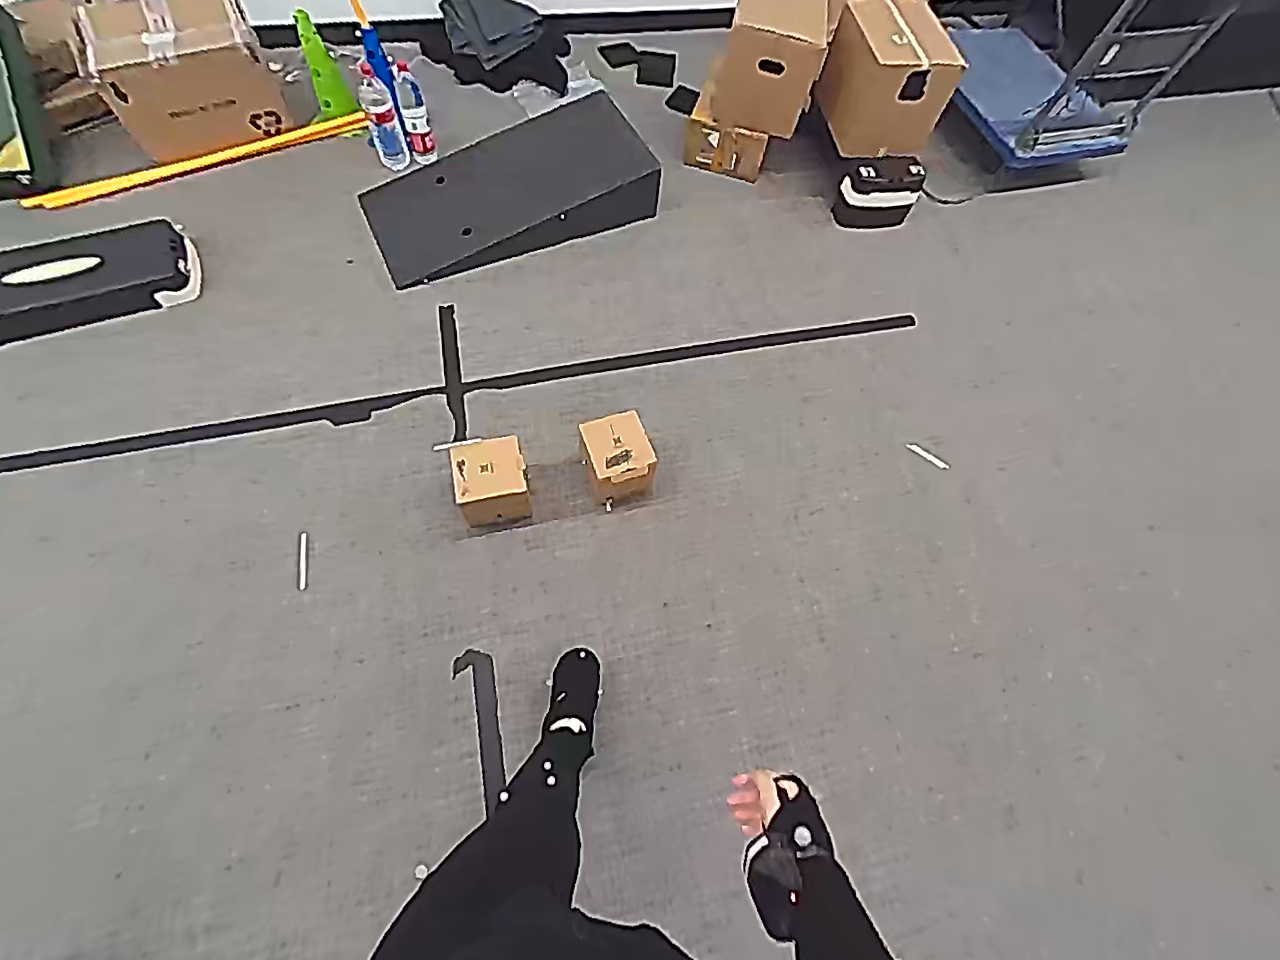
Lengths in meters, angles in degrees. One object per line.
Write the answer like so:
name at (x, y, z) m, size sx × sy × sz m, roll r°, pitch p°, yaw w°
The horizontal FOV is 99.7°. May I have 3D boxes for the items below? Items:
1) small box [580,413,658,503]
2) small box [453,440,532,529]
small box at (-0.060, -0.052, 1.487) m, size 0.168 × 0.176 × 0.179 m, roll -17°, pitch 66°, yaw -13°
small box at (-0.383, 0.014, 1.425) m, size 0.179 × 0.176 × 0.168 m, roll -10°, pitch 65°, yaw -11°
